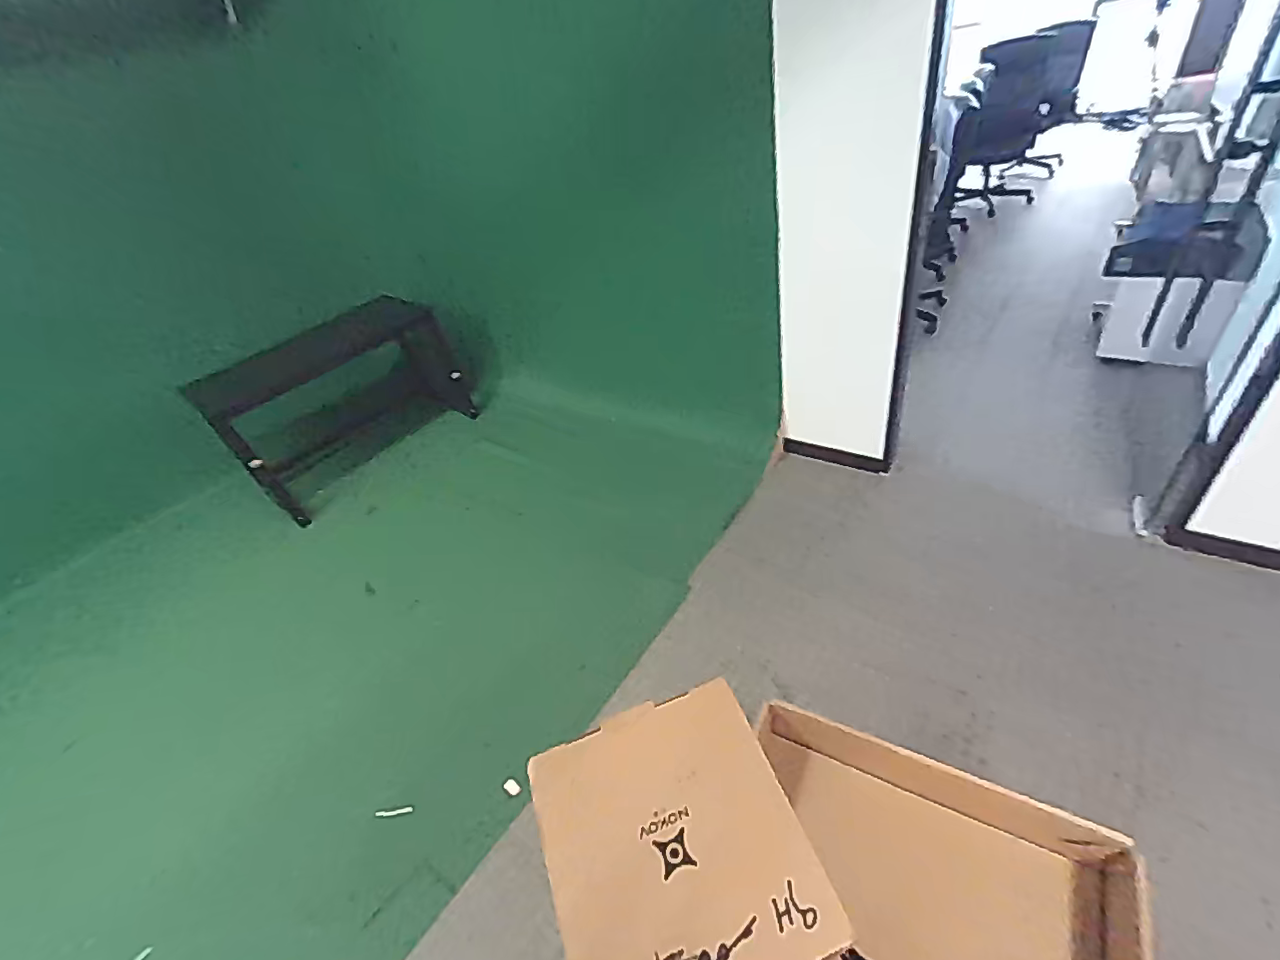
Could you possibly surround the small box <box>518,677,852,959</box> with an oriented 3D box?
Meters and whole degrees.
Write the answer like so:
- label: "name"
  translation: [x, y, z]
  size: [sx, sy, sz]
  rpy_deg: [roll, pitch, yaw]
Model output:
- label: "small box"
  translation: [0.024, 0.288, 0.401]
  size: [0.168, 0.176, 0.179]
  rpy_deg: [-20, 45, -10]
